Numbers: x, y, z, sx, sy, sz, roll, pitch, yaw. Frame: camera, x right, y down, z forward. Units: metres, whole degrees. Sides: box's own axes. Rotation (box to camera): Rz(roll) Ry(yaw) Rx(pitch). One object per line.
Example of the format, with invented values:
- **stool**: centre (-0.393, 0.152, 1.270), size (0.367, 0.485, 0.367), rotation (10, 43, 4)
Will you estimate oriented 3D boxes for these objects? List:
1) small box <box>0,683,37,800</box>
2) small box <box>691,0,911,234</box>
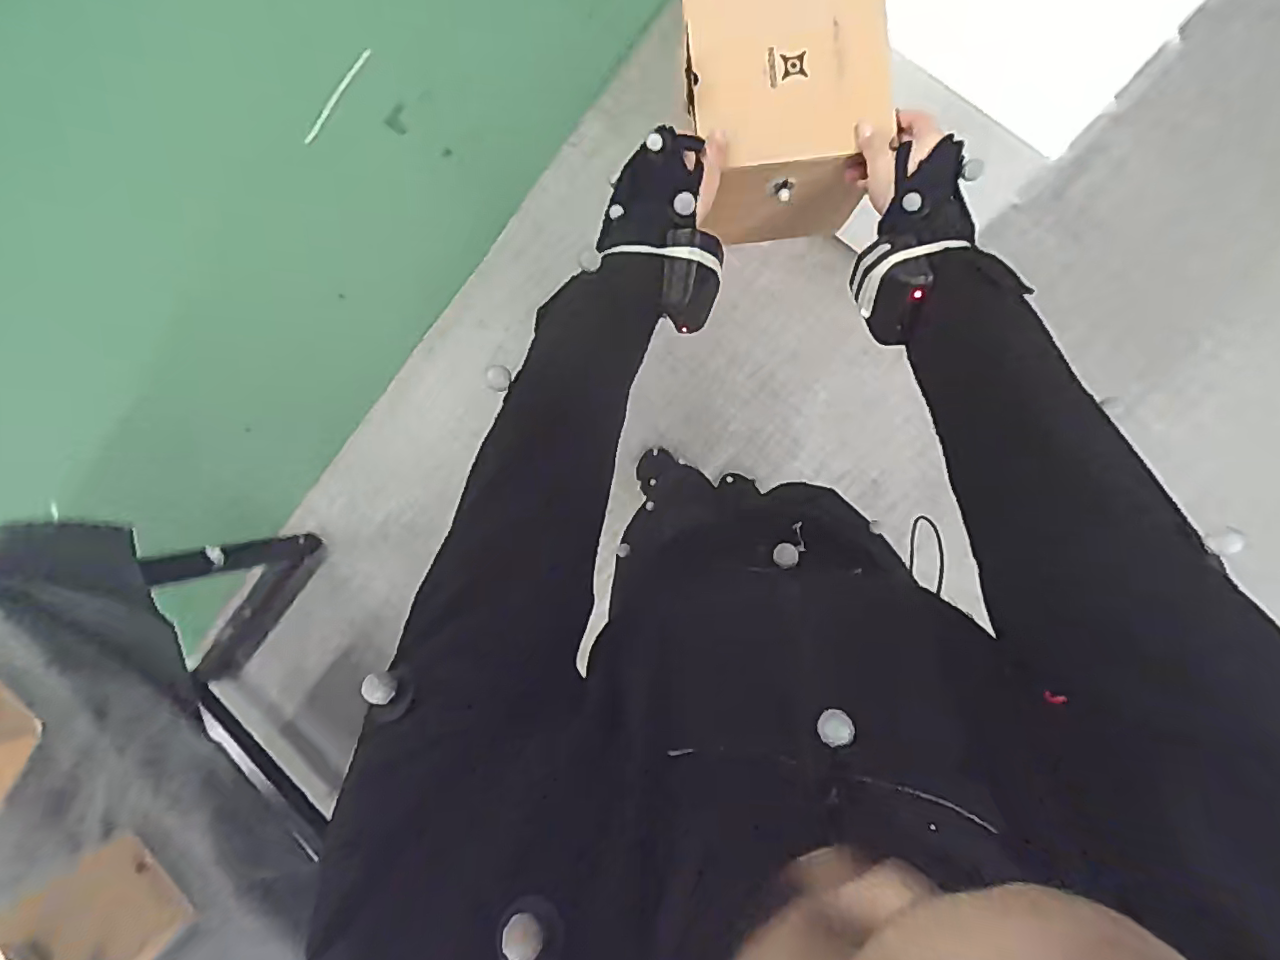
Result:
- **small box**: centre (-1.049, 0.409, 0.780), size (0.168, 0.176, 0.179), rotation (36, 98, 8)
- **small box**: centre (0.143, -0.366, 0.544), size (0.179, 0.176, 0.168), rotation (-5, 92, 2)
